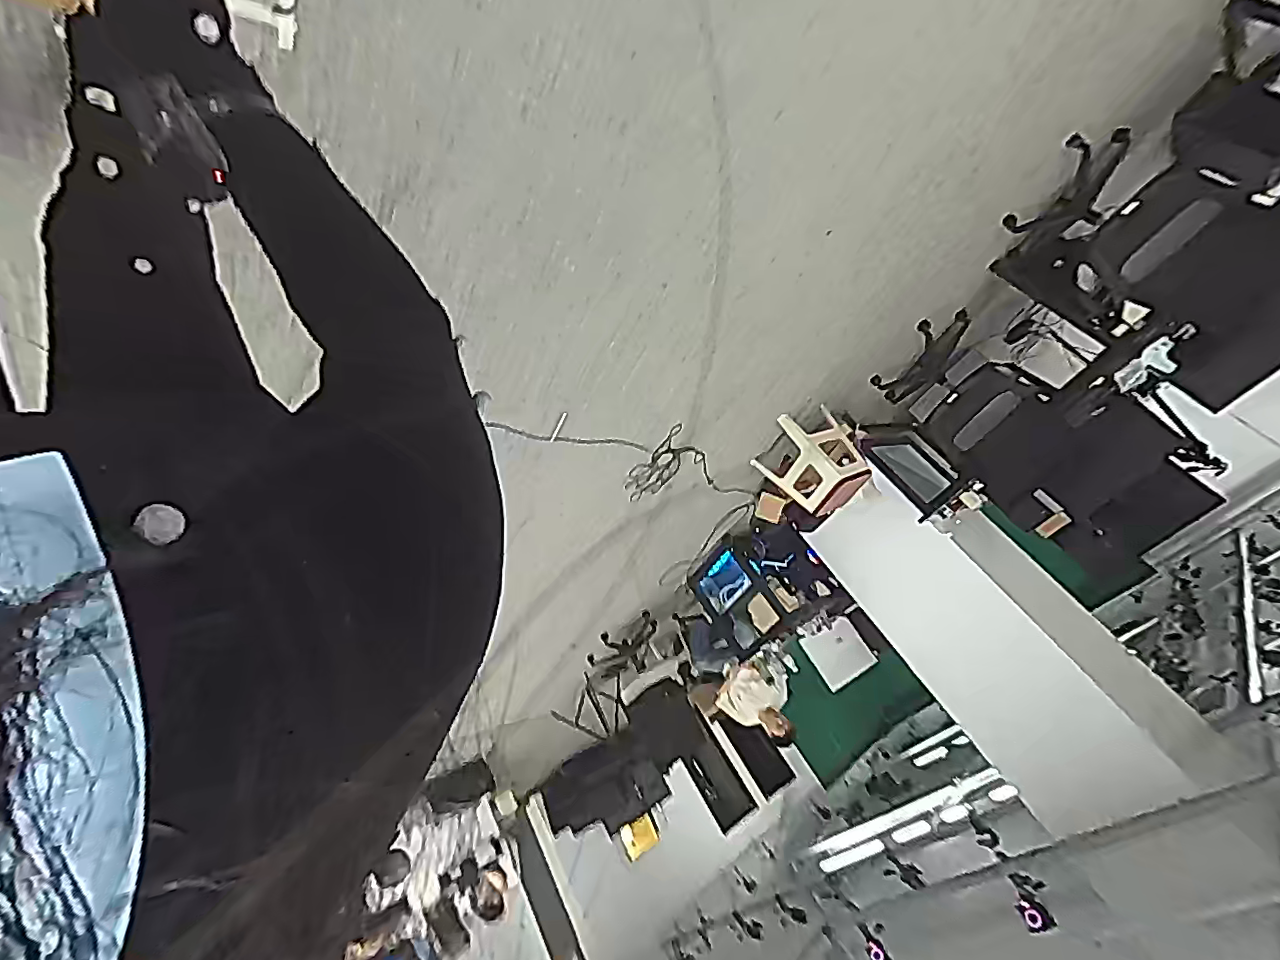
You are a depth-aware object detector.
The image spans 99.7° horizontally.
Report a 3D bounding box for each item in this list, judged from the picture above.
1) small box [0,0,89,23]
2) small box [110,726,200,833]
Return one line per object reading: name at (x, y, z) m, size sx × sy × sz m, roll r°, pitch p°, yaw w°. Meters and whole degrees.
small box at (-0.473, -0.427, 0.327) m, size 0.168 × 0.176 × 0.179 m, roll -12°, pitch 138°, yaw -37°
small box at (-1.288, 0.790, 1.439) m, size 0.168 × 0.176 × 0.179 m, roll -6°, pitch 139°, yaw -43°
